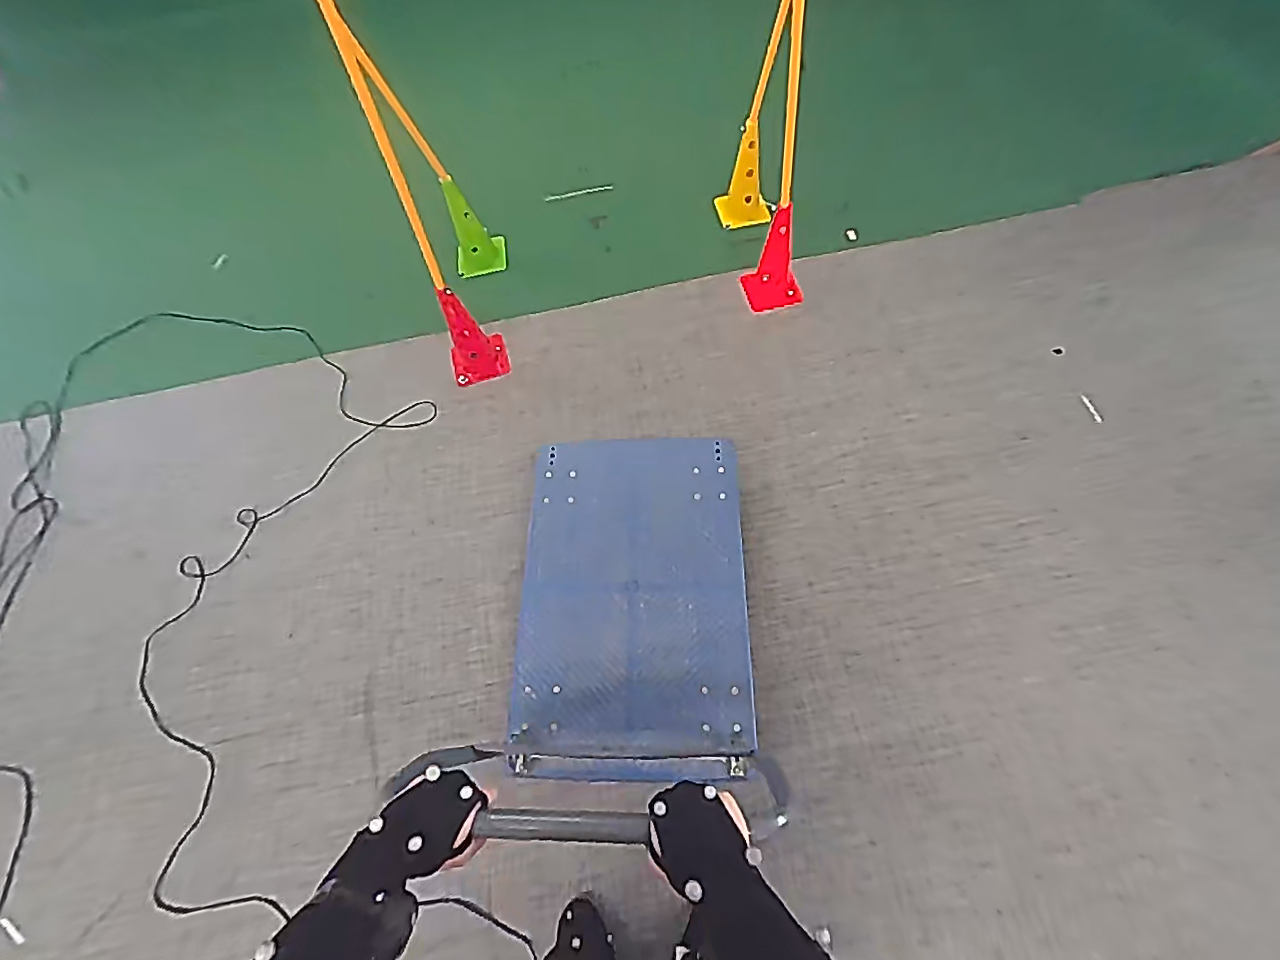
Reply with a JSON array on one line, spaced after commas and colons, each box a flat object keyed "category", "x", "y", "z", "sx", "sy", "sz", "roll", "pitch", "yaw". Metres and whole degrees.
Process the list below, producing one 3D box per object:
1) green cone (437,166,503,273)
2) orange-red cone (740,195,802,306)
[{"category": "green cone", "x": -0.680, "y": -1.016, "z": 2.074, "sx": 0.200, "sy": 0.368, "sz": 0.202, "roll": -12, "pitch": 62, "yaw": 0}, {"category": "orange-red cone", "x": 0.472, "y": -0.809, "z": 1.862, "sx": 0.198, "sy": 0.360, "sz": 0.199, "roll": -11, "pitch": 61, "yaw": -1}]
